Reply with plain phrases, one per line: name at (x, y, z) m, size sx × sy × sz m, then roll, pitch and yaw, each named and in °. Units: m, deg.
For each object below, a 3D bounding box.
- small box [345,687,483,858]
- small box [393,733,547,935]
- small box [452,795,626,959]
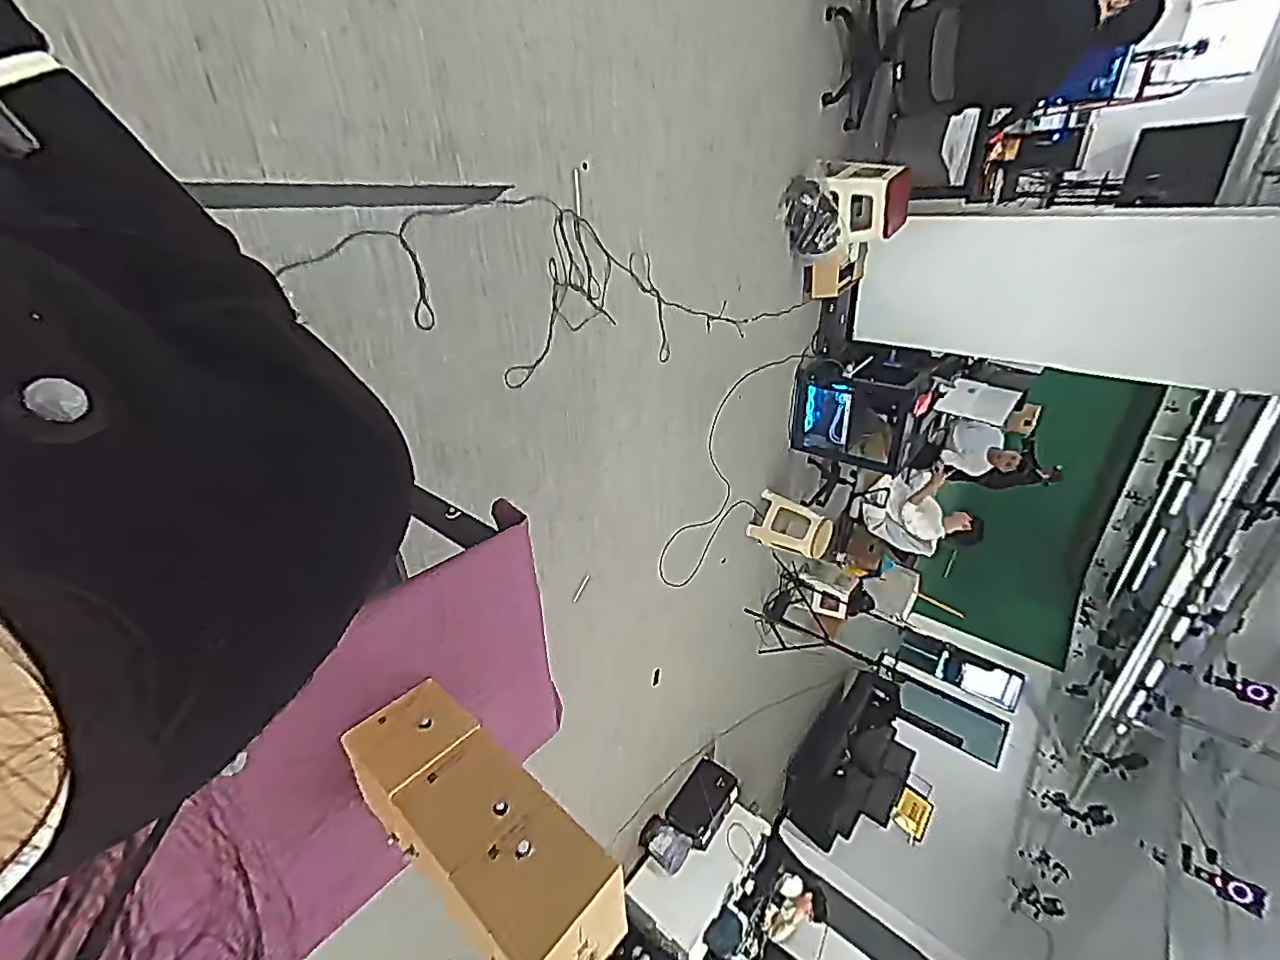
small box at (-0.385, 0.494, 0.948) m, size 0.168 × 0.176 × 0.179 m, roll -29°, pitch 128°, yaw -43°
small box at (-0.260, 0.546, 0.855) m, size 0.168 × 0.176 × 0.179 m, roll -30°, pitch 129°, yaw -42°
small box at (-0.136, 0.592, 0.756) m, size 0.168 × 0.176 × 0.179 m, roll -29°, pitch 128°, yaw -43°
